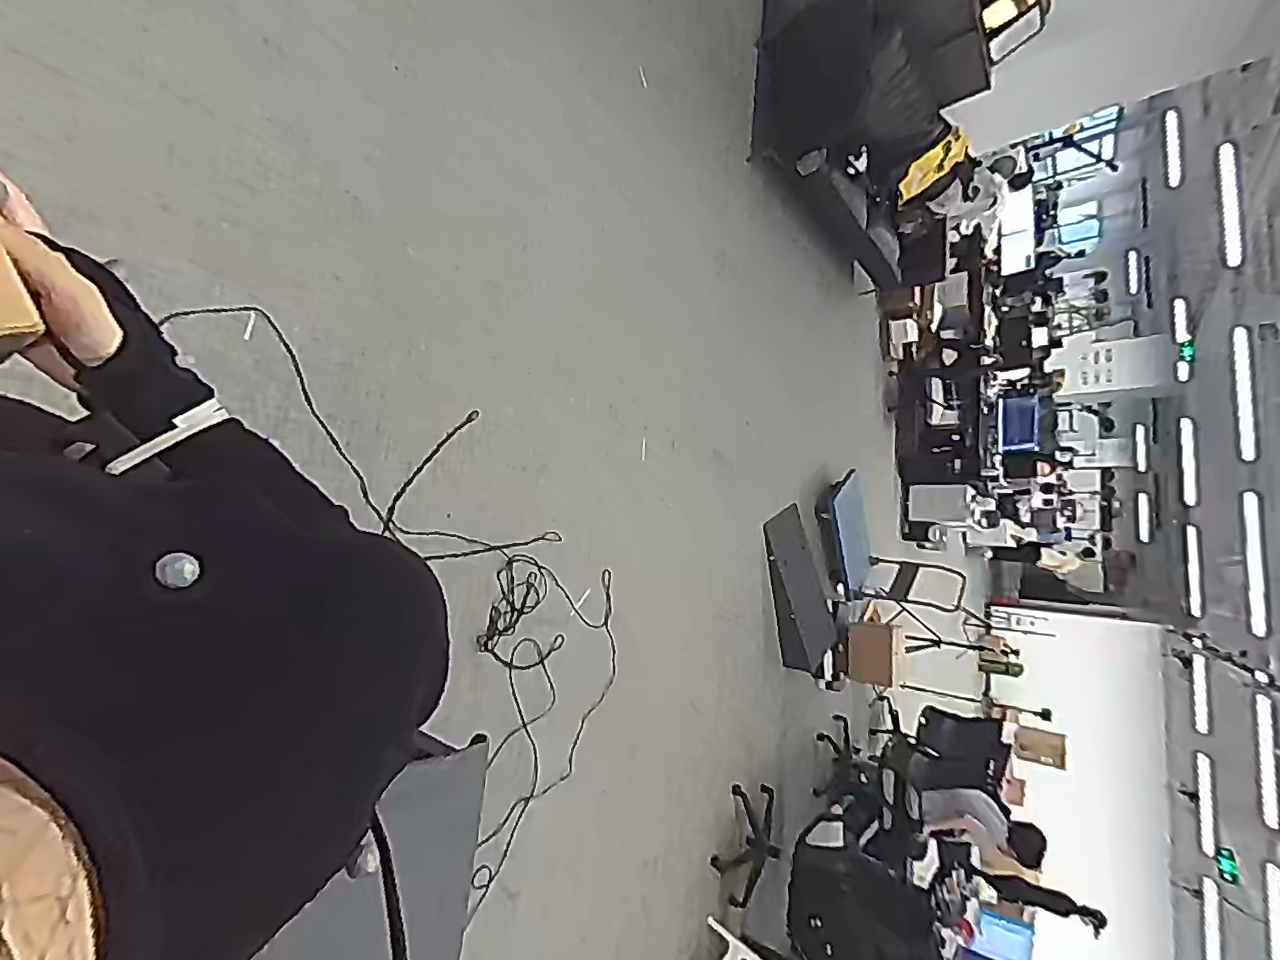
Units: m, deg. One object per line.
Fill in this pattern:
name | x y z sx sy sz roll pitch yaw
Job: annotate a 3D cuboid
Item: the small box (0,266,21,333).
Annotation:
small box | -0.441 -0.140 0.235 0.168 0.176 0.179 -32 118 -51
